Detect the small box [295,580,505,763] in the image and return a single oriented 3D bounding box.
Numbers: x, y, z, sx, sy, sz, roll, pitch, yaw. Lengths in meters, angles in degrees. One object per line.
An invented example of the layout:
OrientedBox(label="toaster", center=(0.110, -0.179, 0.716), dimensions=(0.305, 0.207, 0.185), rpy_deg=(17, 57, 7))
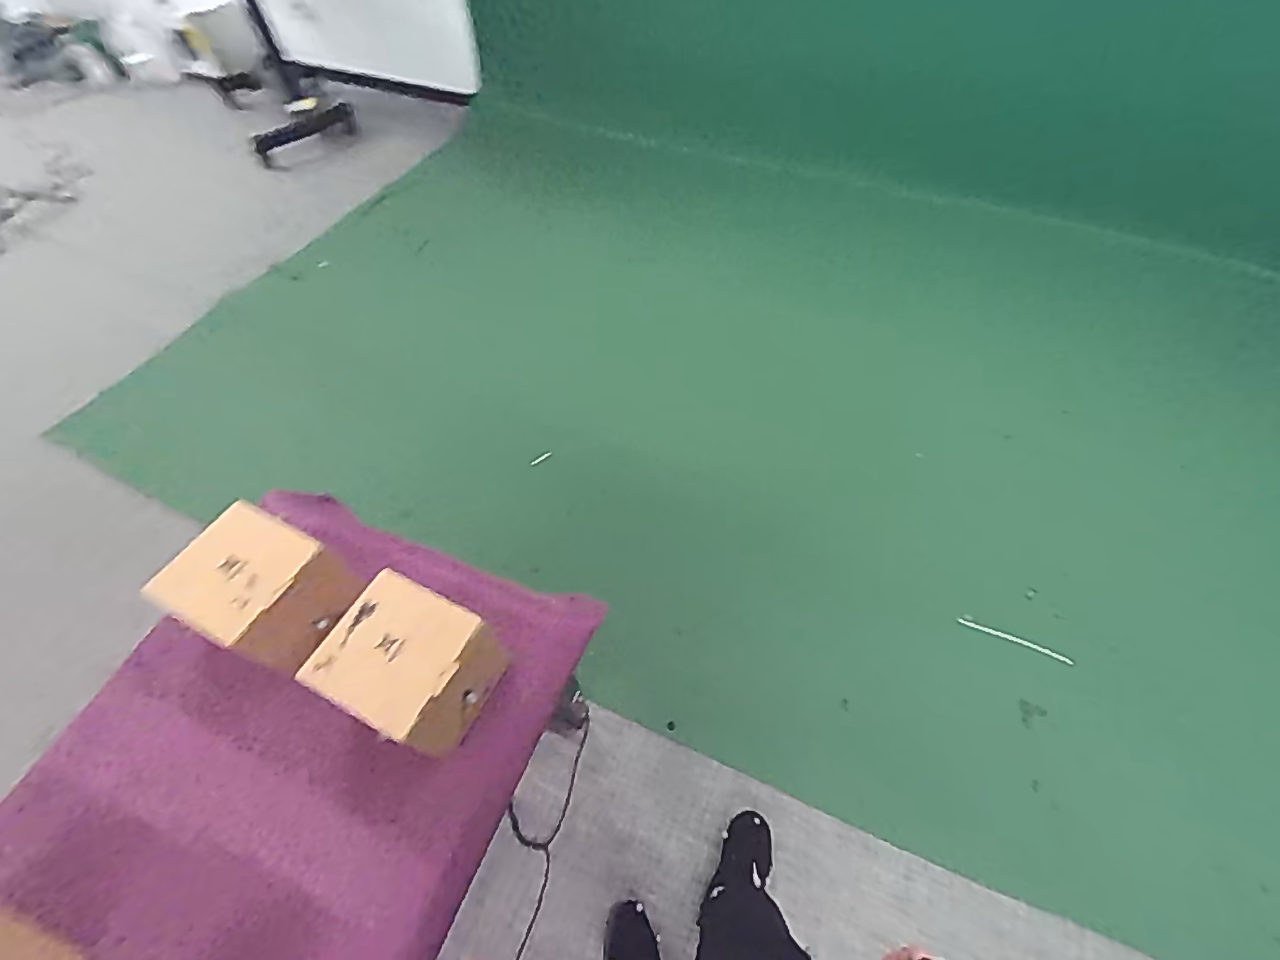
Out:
OrientedBox(label="small box", center=(-0.315, 0.271, 0.753), dimensions=(0.179, 0.176, 0.168), rpy_deg=(22, 59, 16))

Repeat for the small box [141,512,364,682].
OrientedBox(label="small box", center=(-0.568, 0.182, 0.819), dimensions=(0.179, 0.176, 0.168), rpy_deg=(22, 59, 14))
